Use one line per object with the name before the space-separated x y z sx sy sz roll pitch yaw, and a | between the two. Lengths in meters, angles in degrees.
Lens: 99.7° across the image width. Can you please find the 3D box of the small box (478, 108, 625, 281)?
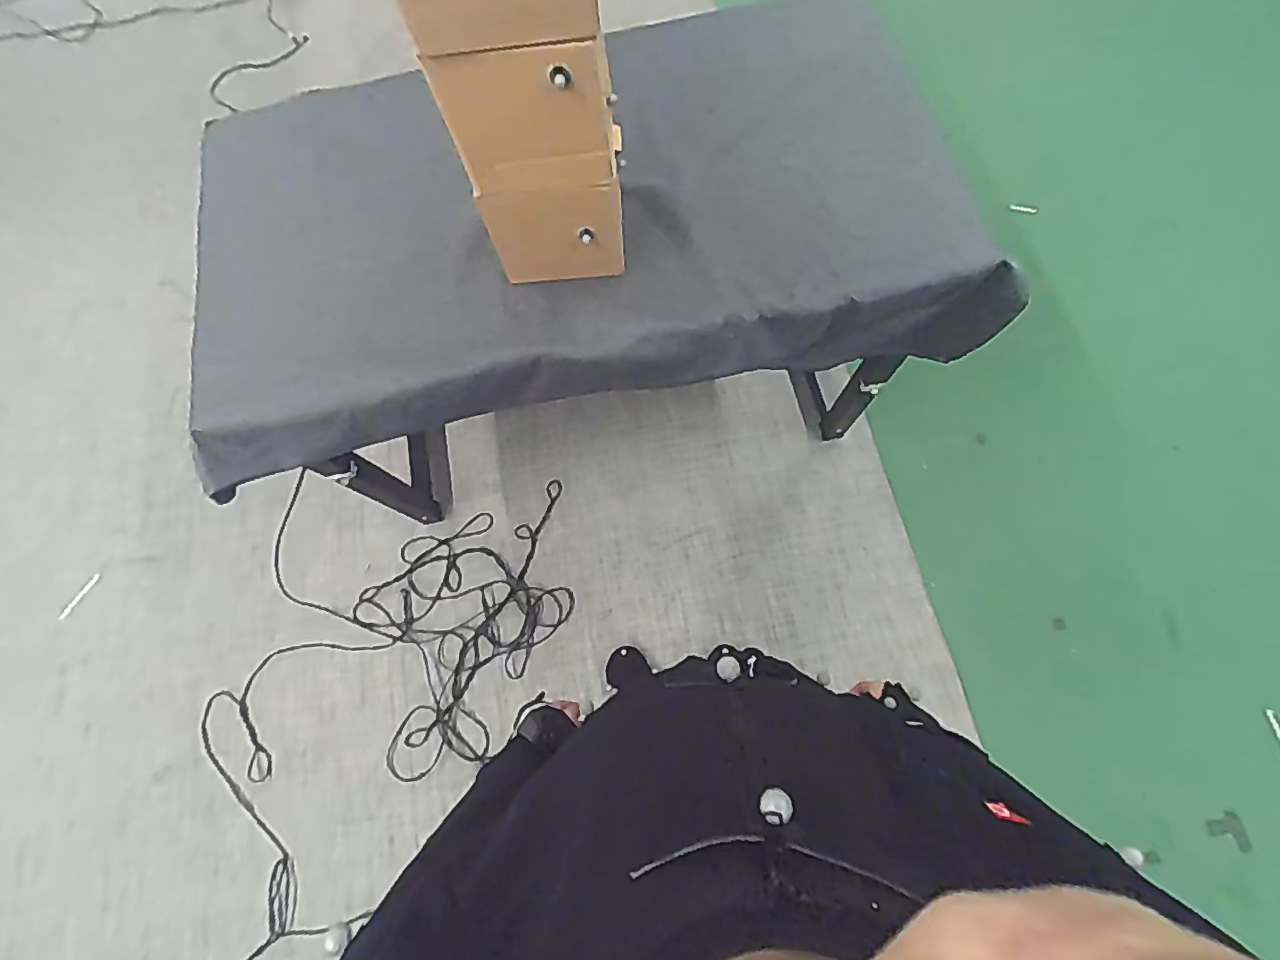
small box | -0.113 -0.405 0.763 0.179 0.176 0.168 -4 71 3

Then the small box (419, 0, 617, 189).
small box | -0.122 -0.459 0.610 0.179 0.176 0.168 -4 72 2
